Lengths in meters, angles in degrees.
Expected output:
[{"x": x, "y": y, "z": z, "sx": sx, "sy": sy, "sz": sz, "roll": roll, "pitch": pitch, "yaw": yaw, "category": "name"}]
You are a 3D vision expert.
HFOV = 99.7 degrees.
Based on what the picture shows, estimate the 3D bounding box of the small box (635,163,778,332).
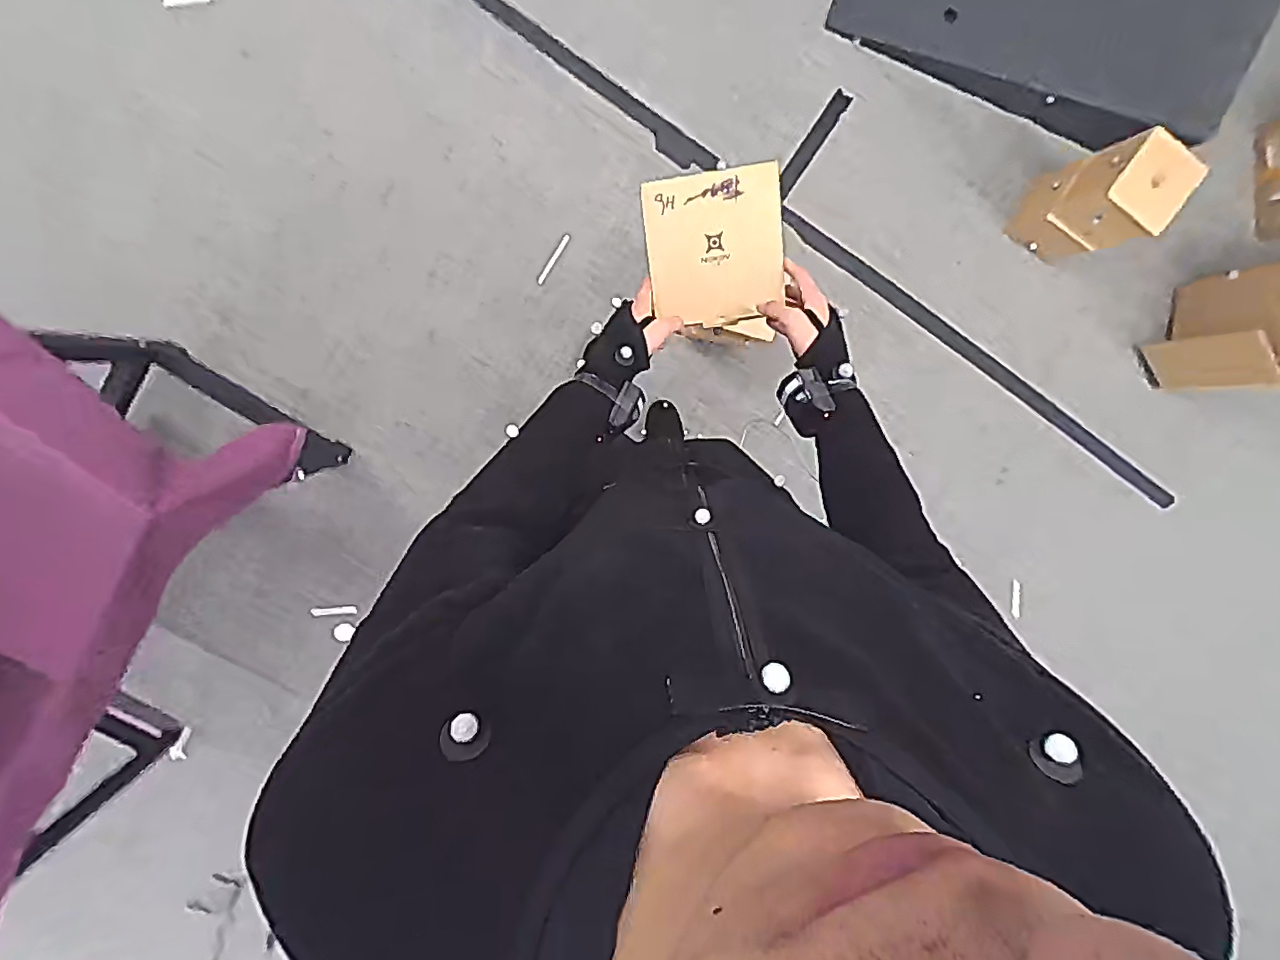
[{"x": 0.093, "y": -0.307, "z": 0.742, "sx": 0.168, "sy": 0.176, "sz": 0.179, "roll": -6, "pitch": 107, "yaw": 8, "category": "small box"}]
